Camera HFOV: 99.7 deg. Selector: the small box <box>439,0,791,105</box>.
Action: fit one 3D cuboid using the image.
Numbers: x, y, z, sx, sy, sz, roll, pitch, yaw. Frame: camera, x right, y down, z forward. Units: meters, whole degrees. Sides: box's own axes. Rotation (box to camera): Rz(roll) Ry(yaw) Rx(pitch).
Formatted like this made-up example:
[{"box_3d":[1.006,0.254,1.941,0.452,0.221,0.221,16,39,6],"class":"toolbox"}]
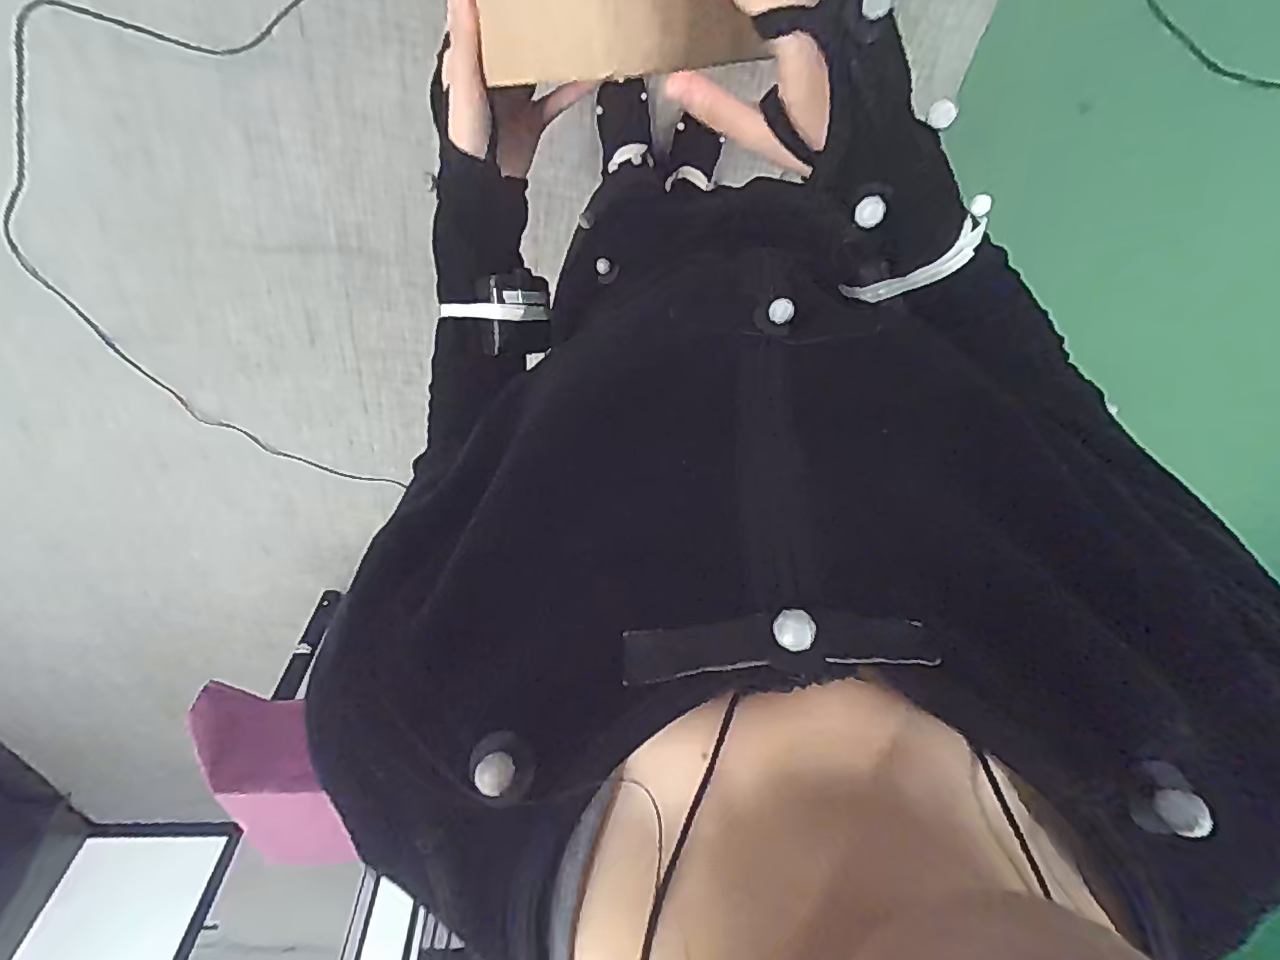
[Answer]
[{"box_3d":[-0.019,-0.334,0.316,0.176,0.179,0.168,-29,135,-24],"class":"small box"}]
